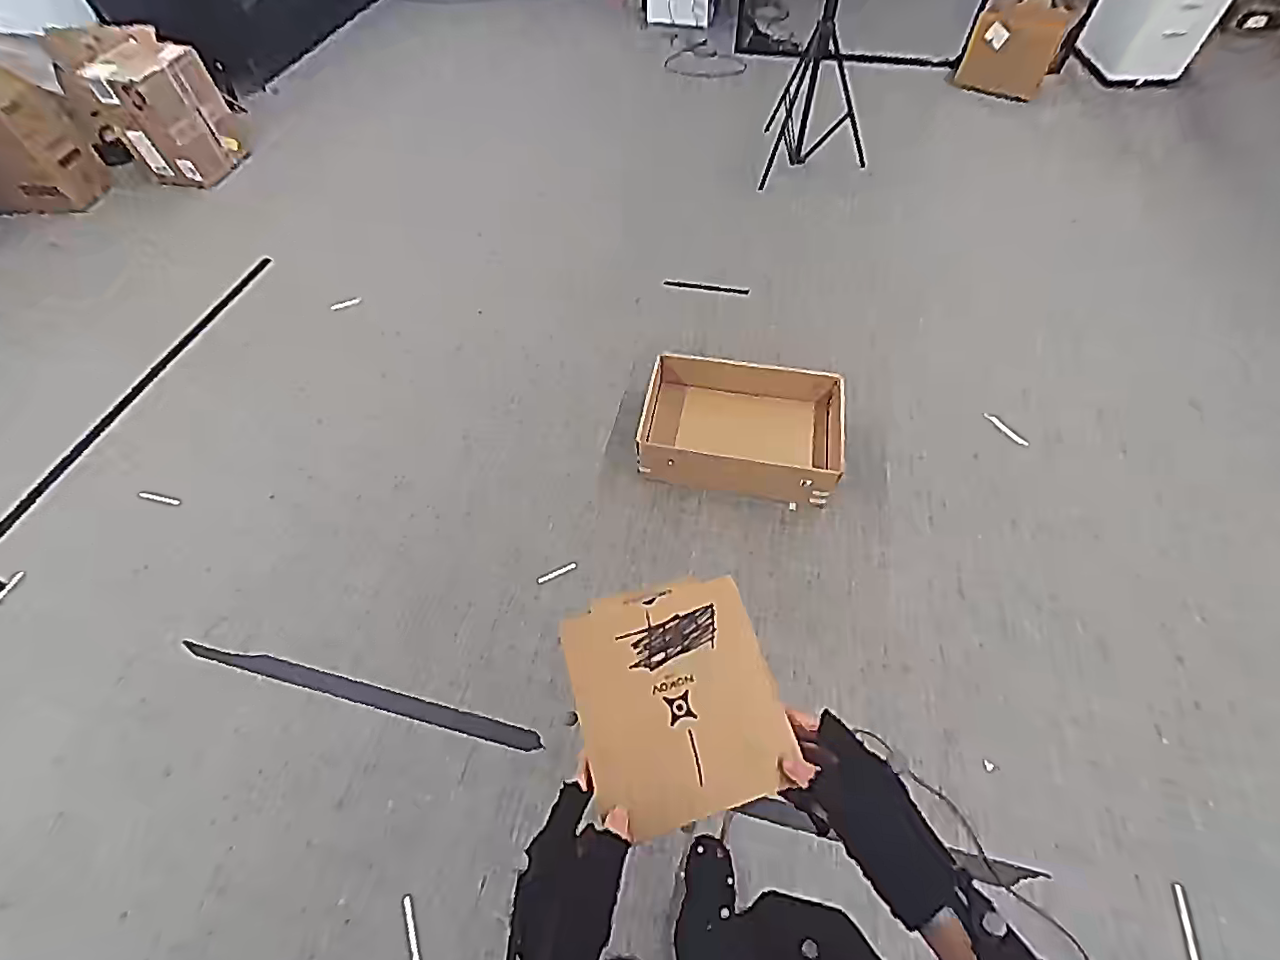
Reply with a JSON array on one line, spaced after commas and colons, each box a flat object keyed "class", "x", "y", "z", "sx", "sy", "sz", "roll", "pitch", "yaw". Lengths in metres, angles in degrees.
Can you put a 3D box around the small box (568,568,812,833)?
[{"class": "small box", "x": 0.028, "y": 0.209, "z": 0.515, "sx": 0.168, "sy": 0.176, "sz": 0.179, "roll": -12, "pitch": 63, "yaw": -11}]
